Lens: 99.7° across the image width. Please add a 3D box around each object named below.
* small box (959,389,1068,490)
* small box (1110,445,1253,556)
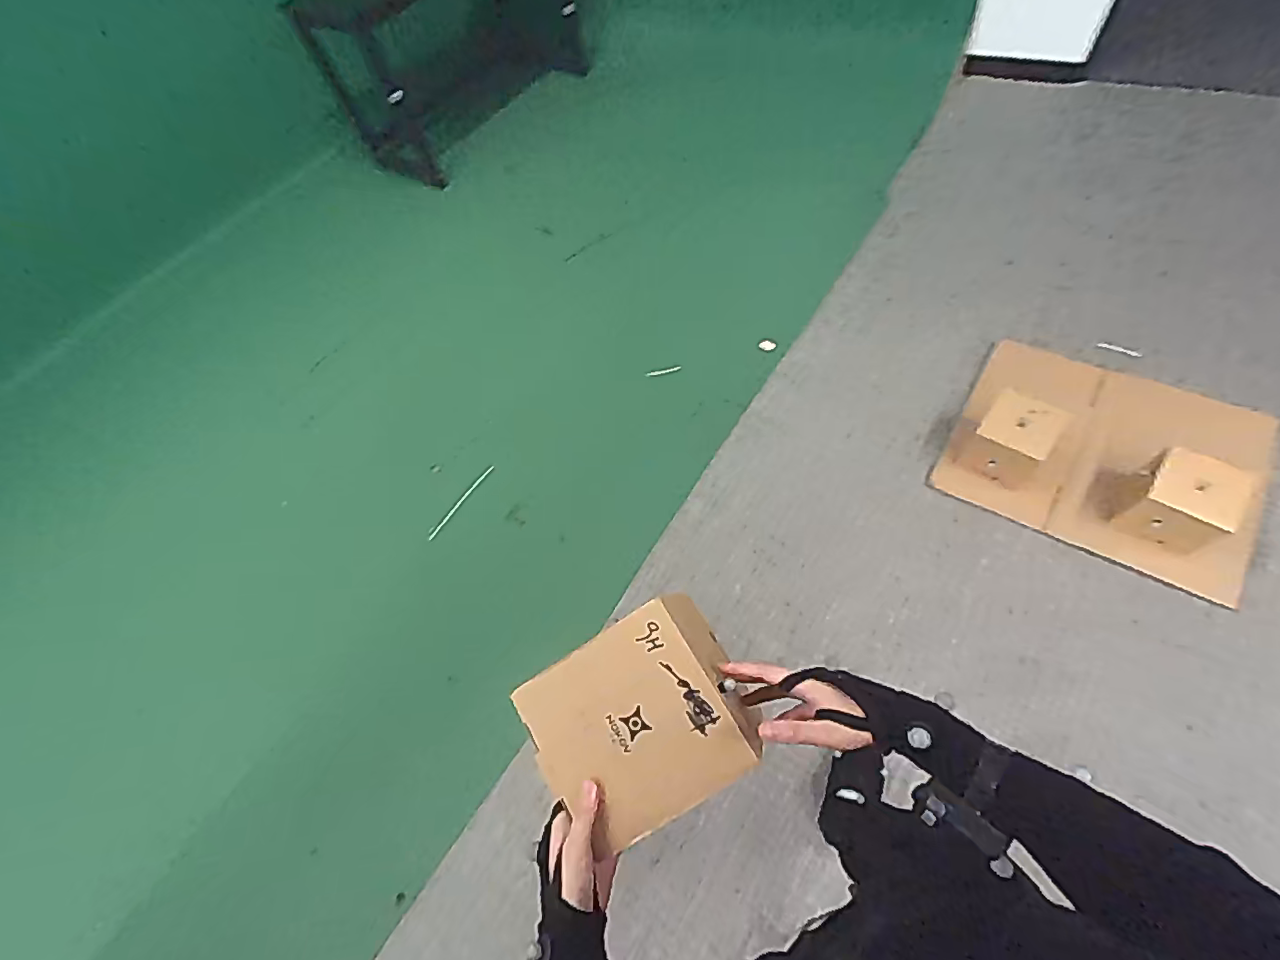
[{"bbox_3d":[0.992,-0.104,1.455,0.168,0.176,0.179,33,72,25],"label":"small box"},{"bbox_3d":[1.290,0.055,1.303,0.168,0.176,0.179,32,70,25],"label":"small box"}]
